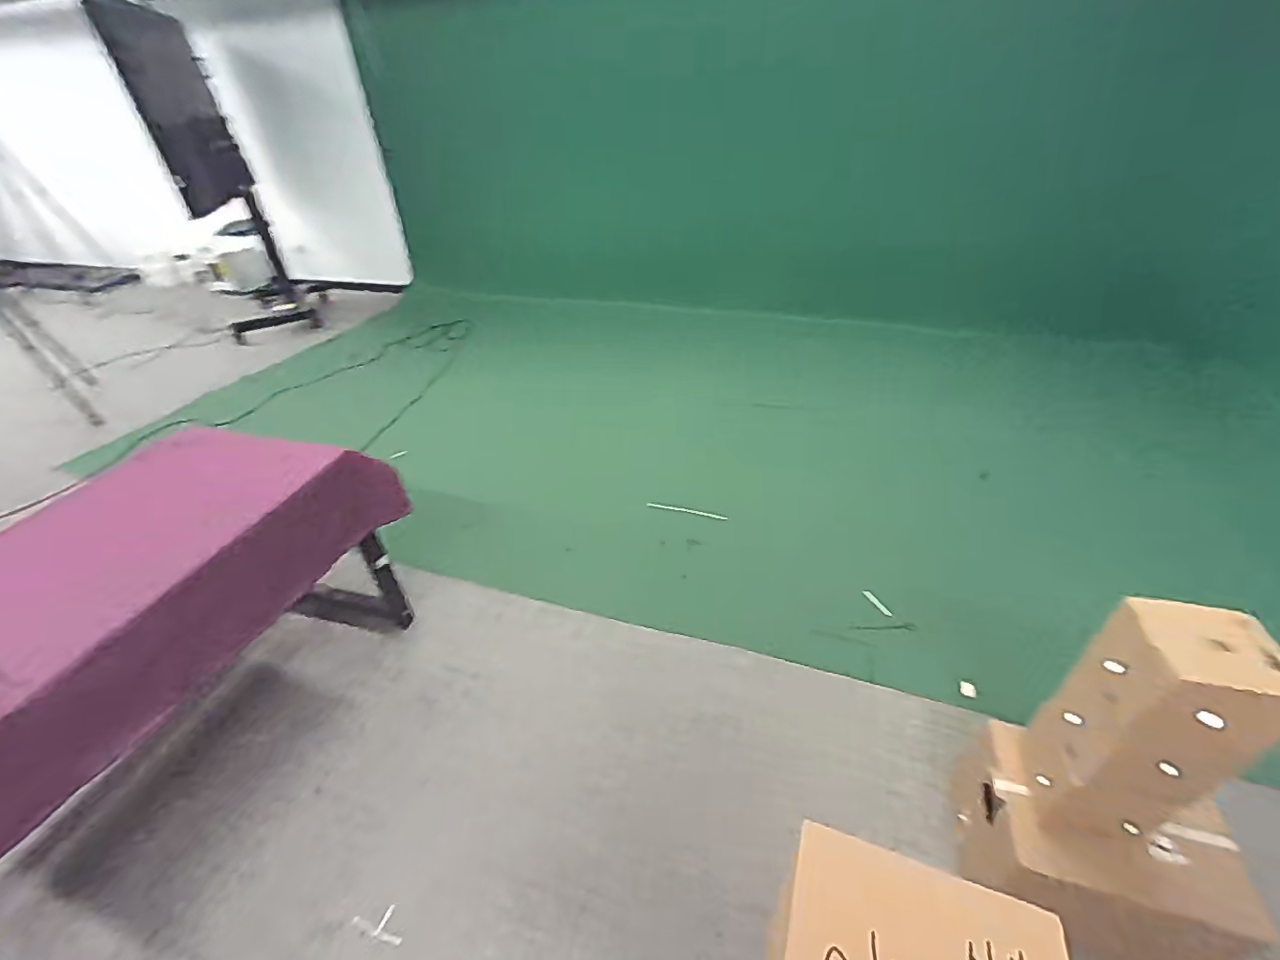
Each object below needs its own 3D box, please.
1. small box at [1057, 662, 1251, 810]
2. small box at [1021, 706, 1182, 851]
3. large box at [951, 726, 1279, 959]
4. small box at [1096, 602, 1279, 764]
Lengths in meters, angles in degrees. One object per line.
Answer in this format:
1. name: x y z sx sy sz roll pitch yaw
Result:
1. small box: 0.889 0.457 0.966 0.179 0.176 0.168 7 37 11
2. small box: 0.889 0.588 1.064 0.168 0.176 0.179 9 37 15
3. large box: 0.959 0.805 1.176 0.408 0.320 0.320 10 38 15
4. small box: 0.882 0.324 0.868 0.179 0.176 0.168 7 37 14
